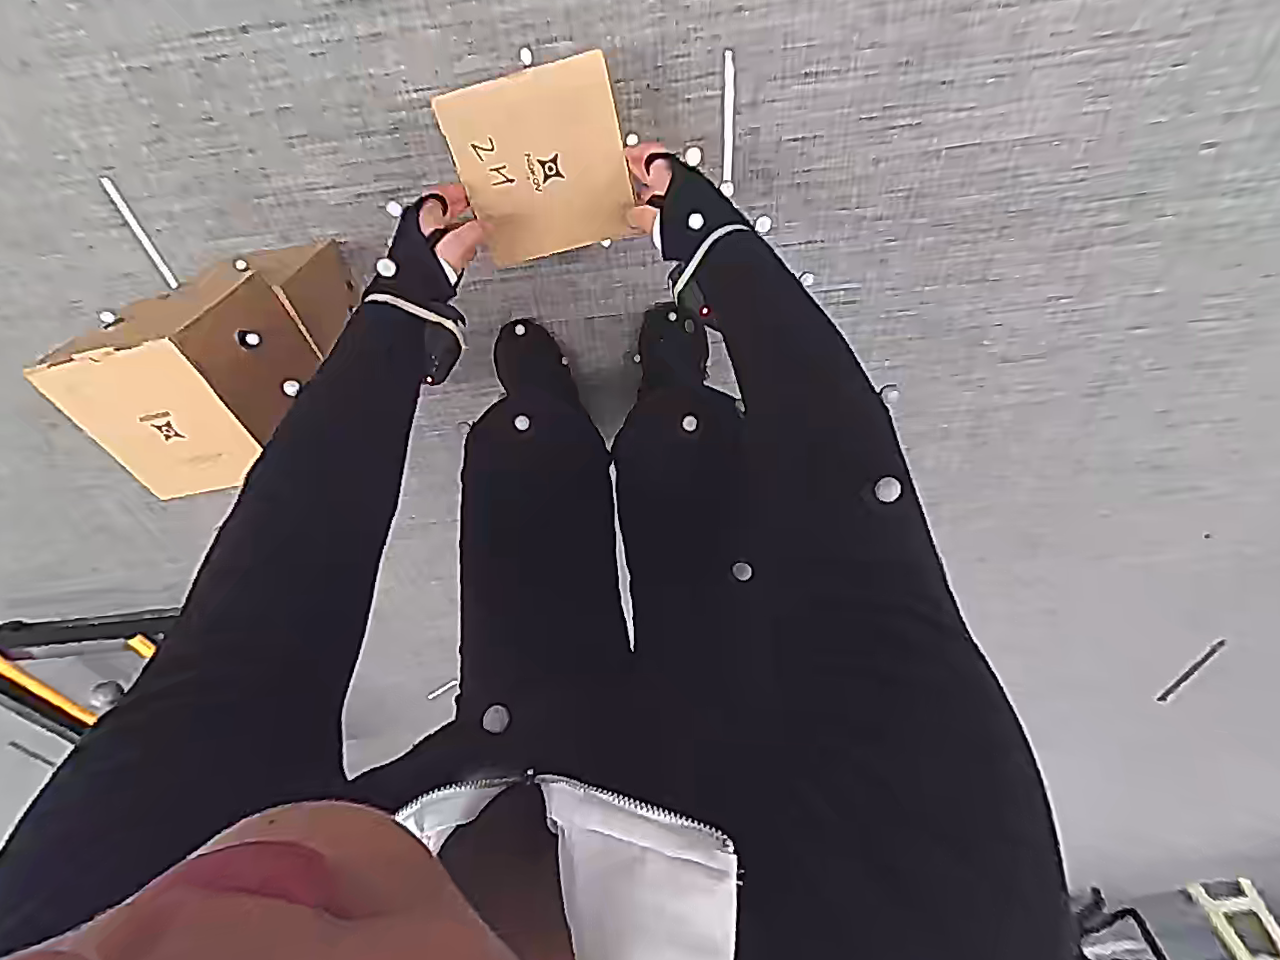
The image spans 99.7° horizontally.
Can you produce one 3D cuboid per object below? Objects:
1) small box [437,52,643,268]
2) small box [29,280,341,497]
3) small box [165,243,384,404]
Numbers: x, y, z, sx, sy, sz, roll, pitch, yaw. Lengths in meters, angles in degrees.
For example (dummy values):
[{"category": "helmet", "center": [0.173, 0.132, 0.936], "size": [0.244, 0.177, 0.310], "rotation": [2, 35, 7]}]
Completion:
[{"category": "small box", "center": [-0.101, -0.371, 0.624], "size": [0.179, 0.176, 0.168], "rotation": [-11, 129, 6]}, {"category": "small box", "center": [-0.488, -0.110, 0.618], "size": [0.168, 0.176, 0.179], "rotation": [-10, 132, 7]}, {"category": "small box", "center": [-0.492, -0.209, 0.747], "size": [0.179, 0.176, 0.168], "rotation": [-8, 131, 4]}]
